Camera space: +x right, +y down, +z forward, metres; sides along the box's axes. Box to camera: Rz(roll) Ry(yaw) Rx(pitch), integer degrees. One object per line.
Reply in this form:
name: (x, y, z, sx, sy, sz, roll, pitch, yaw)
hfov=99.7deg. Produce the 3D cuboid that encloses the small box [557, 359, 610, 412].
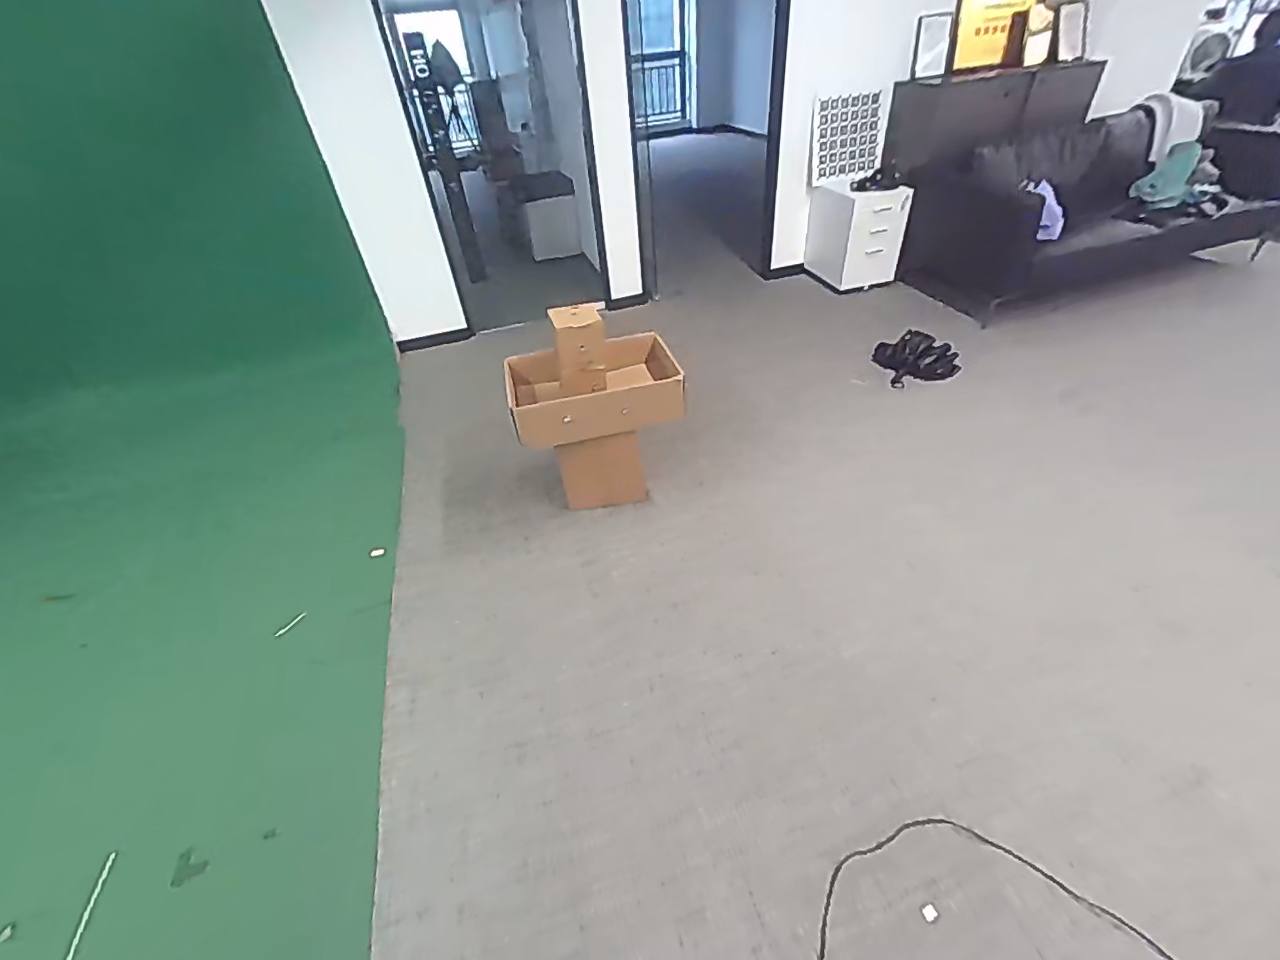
small box: (-0.212, -0.366, 2.034, 0.168, 0.176, 0.179, -11, 37, -10)

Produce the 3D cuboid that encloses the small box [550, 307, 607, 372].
small box: (-0.219, -0.499, 1.938, 0.168, 0.176, 0.179, -12, 40, -12)
